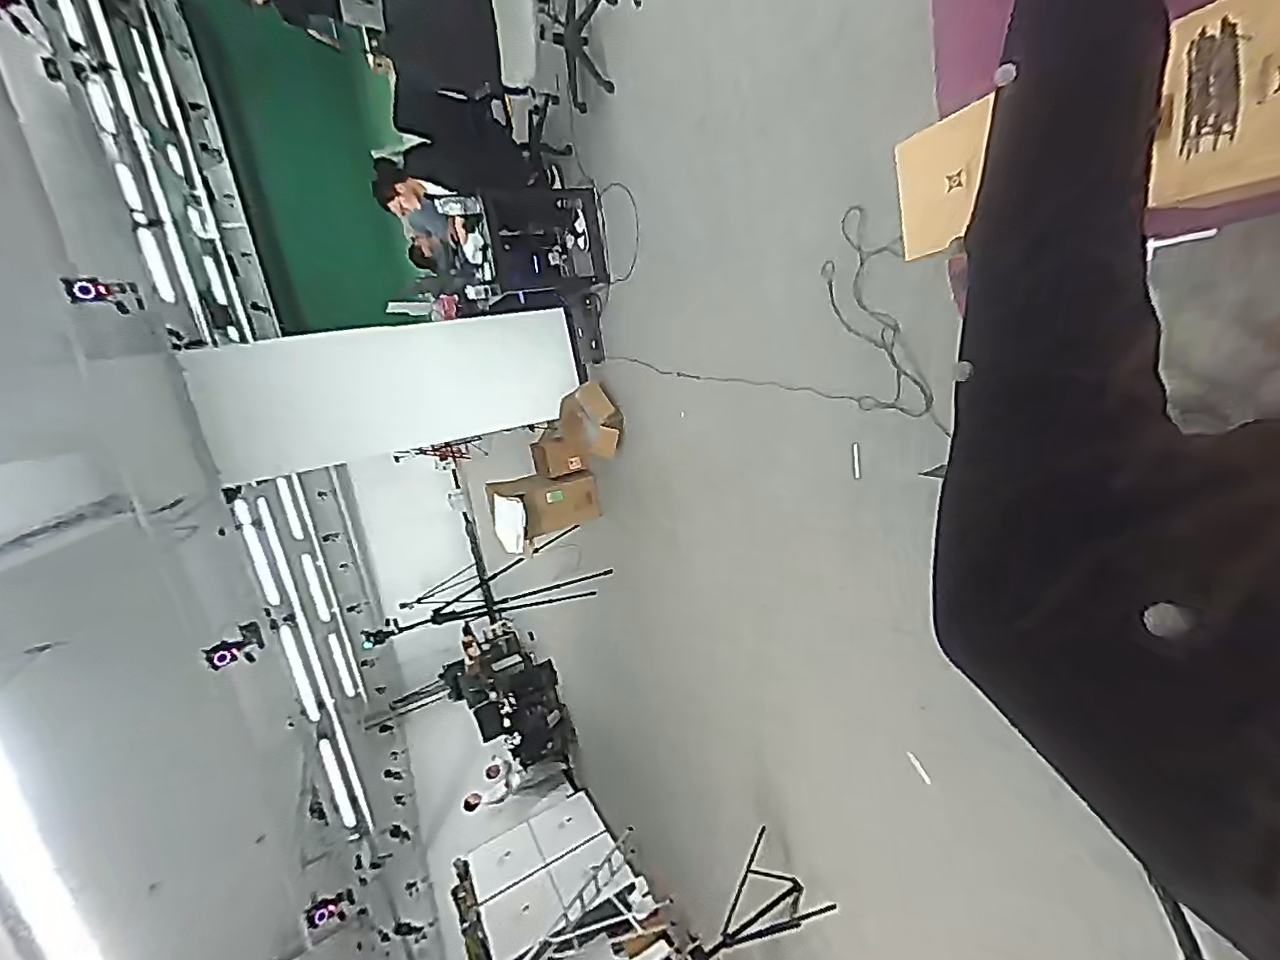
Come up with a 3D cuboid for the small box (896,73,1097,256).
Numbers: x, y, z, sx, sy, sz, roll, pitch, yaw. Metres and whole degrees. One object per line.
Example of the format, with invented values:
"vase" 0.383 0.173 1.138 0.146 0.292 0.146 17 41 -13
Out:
"small box" 0.493 -0.424 0.755 0.179 0.176 0.168 8 112 61
